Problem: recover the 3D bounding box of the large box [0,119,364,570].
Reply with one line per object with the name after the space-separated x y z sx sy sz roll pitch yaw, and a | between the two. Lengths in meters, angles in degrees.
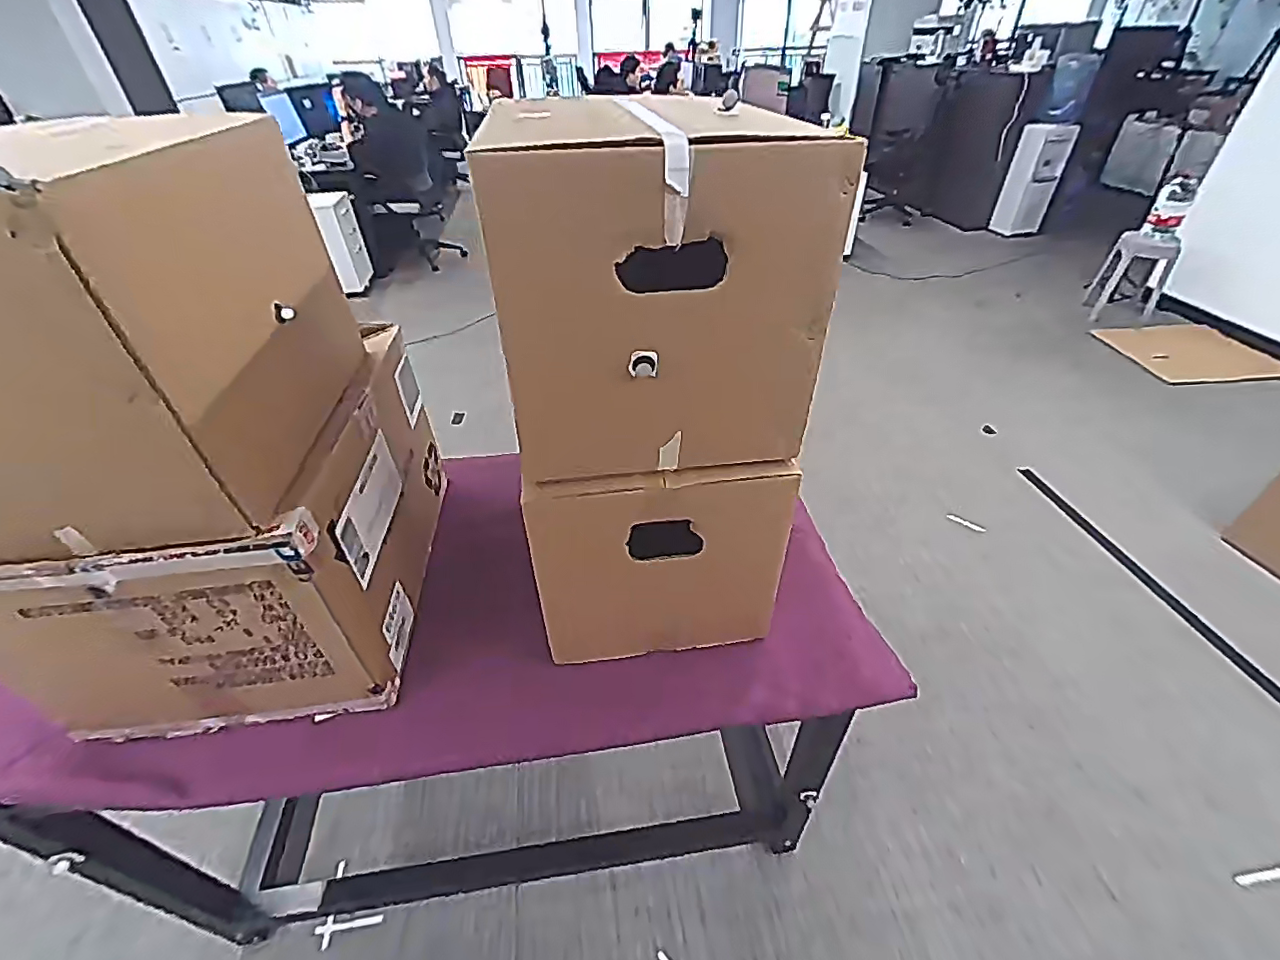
-0.538 -0.168 0.571 0.320 0.320 0.408 -8 40 -5 | large box
